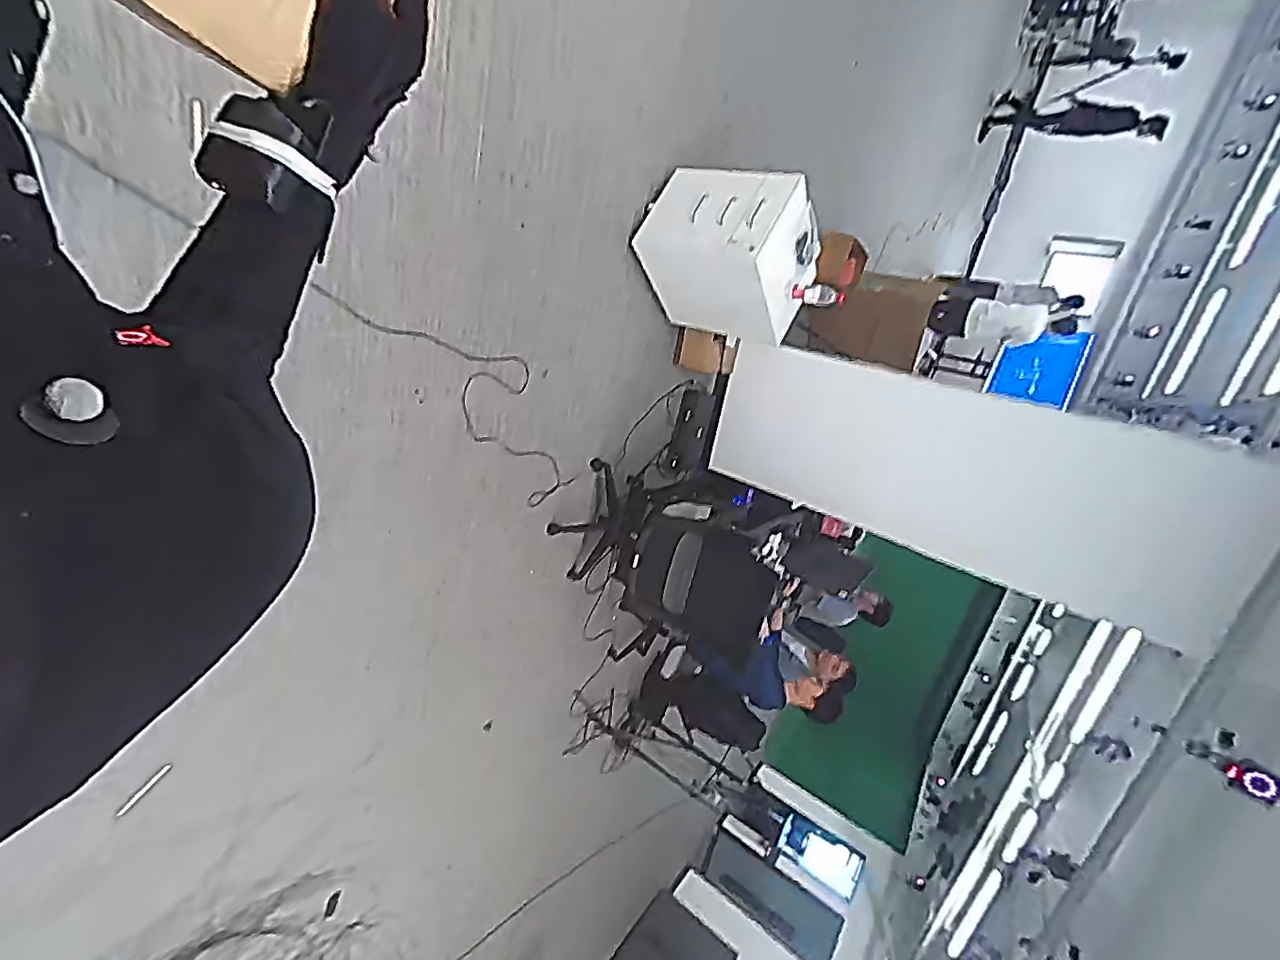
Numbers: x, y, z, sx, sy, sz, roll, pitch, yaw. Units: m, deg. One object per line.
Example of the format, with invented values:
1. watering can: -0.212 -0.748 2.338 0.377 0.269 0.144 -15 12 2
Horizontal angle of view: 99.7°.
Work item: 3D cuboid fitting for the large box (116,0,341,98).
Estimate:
1. large box: -0.397 -0.530 0.306 0.320 0.320 0.408 -57 151 10
